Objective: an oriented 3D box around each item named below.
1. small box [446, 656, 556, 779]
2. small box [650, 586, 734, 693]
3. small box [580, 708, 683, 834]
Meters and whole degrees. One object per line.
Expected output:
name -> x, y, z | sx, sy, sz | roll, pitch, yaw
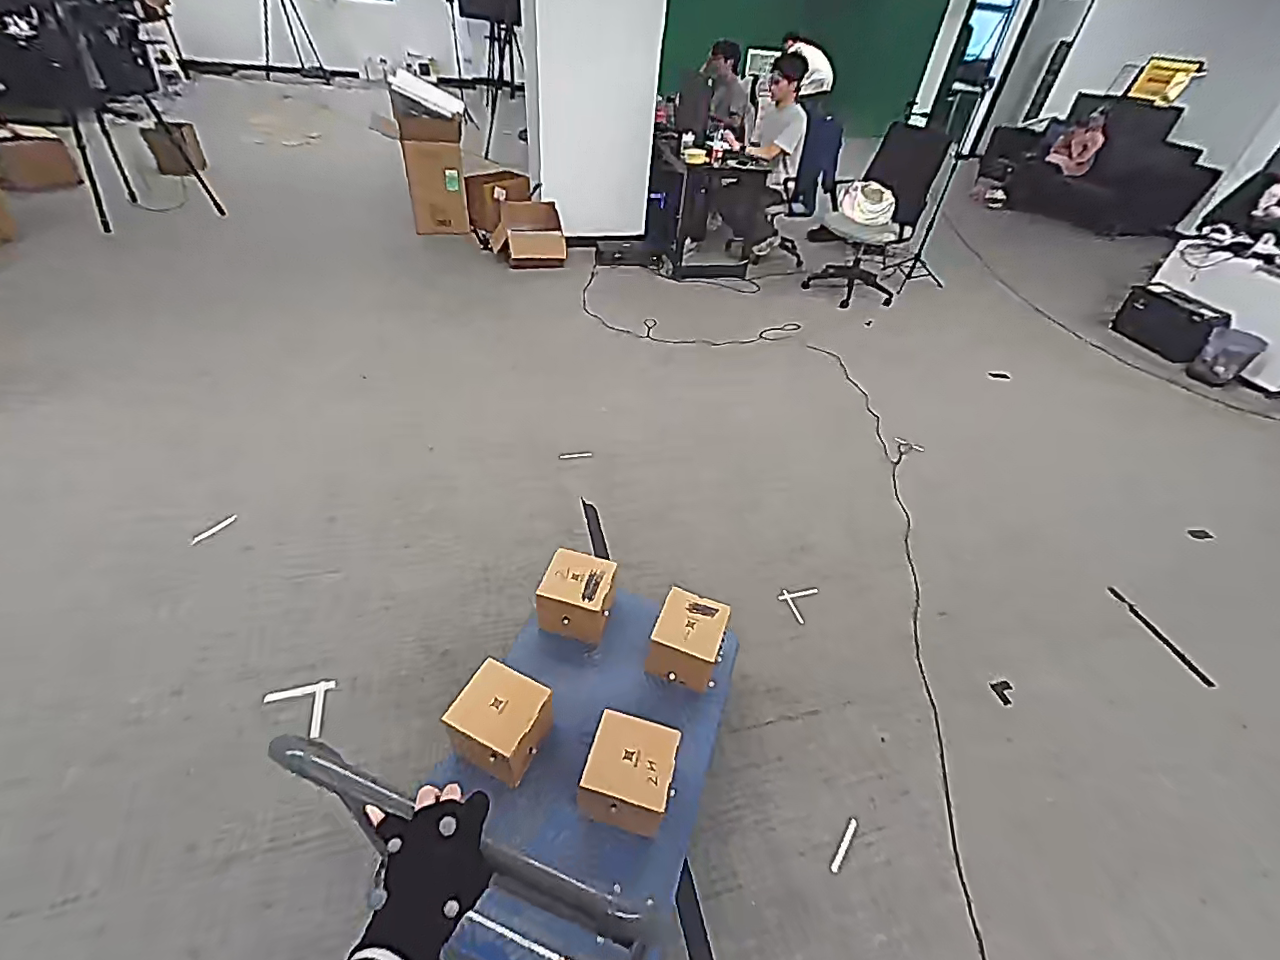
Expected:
small box -> -0.308, 0.541, 1.226 | 0.179, 0.176, 0.168 | 22, 44, 15
small box -> 0.132, 0.418, 1.416 | 0.168, 0.176, 0.179 | 18, 44, 13
small box -> -0.019, 0.628, 1.162 | 0.179, 0.176, 0.168 | 14, 43, 9
